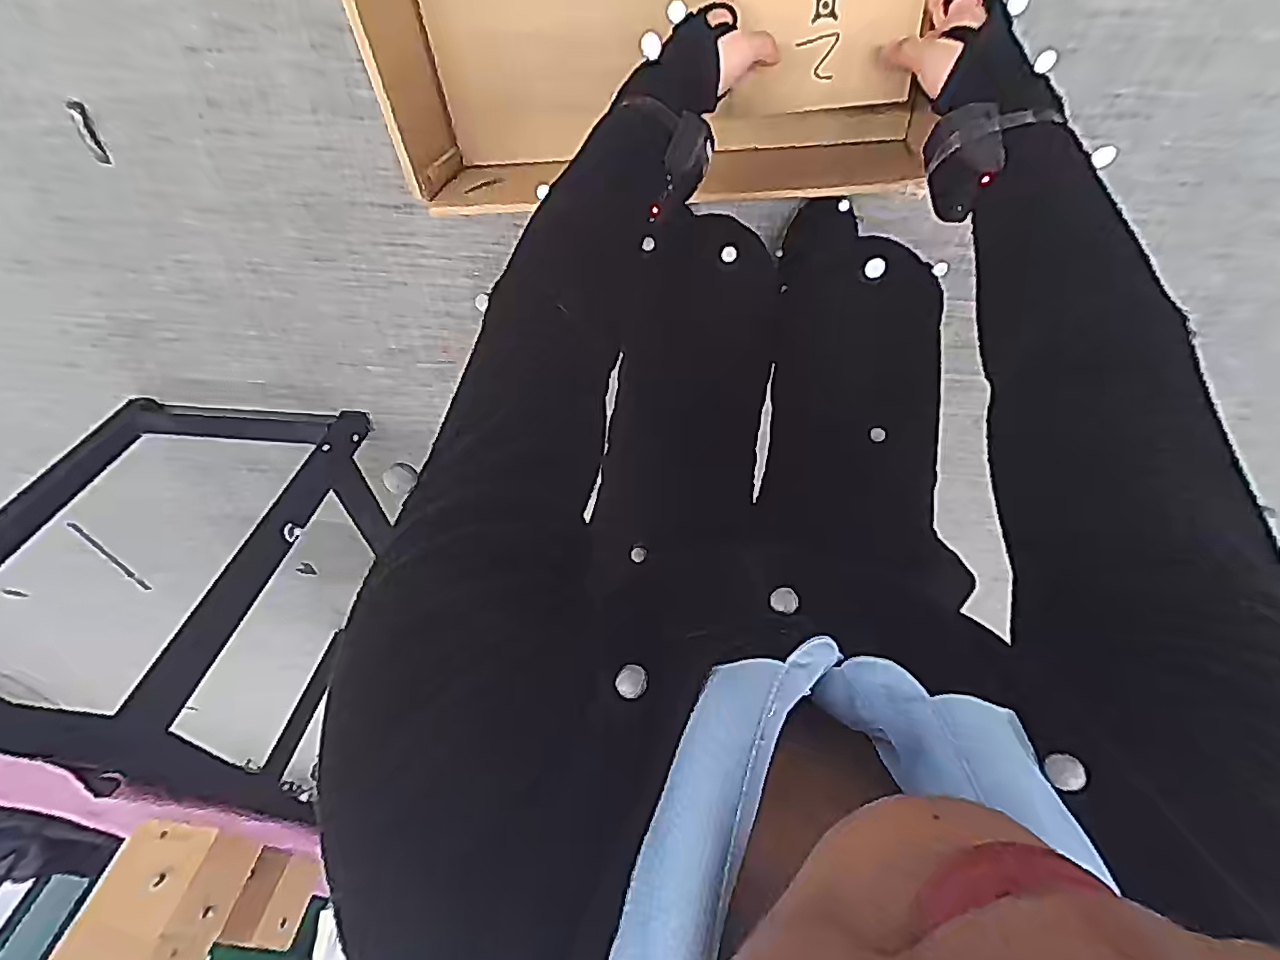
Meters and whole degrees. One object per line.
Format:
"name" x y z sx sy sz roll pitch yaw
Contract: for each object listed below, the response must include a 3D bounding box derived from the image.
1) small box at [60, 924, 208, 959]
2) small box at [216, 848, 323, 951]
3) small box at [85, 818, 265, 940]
"small box" -0.926 0.909 0.961 0.179 0.176 0.168 5 137 4
"small box" -0.890 0.983 1.274 0.168 0.176 0.179 4 136 4
"small box" -0.899 0.786 1.068 0.168 0.176 0.179 5 137 4
